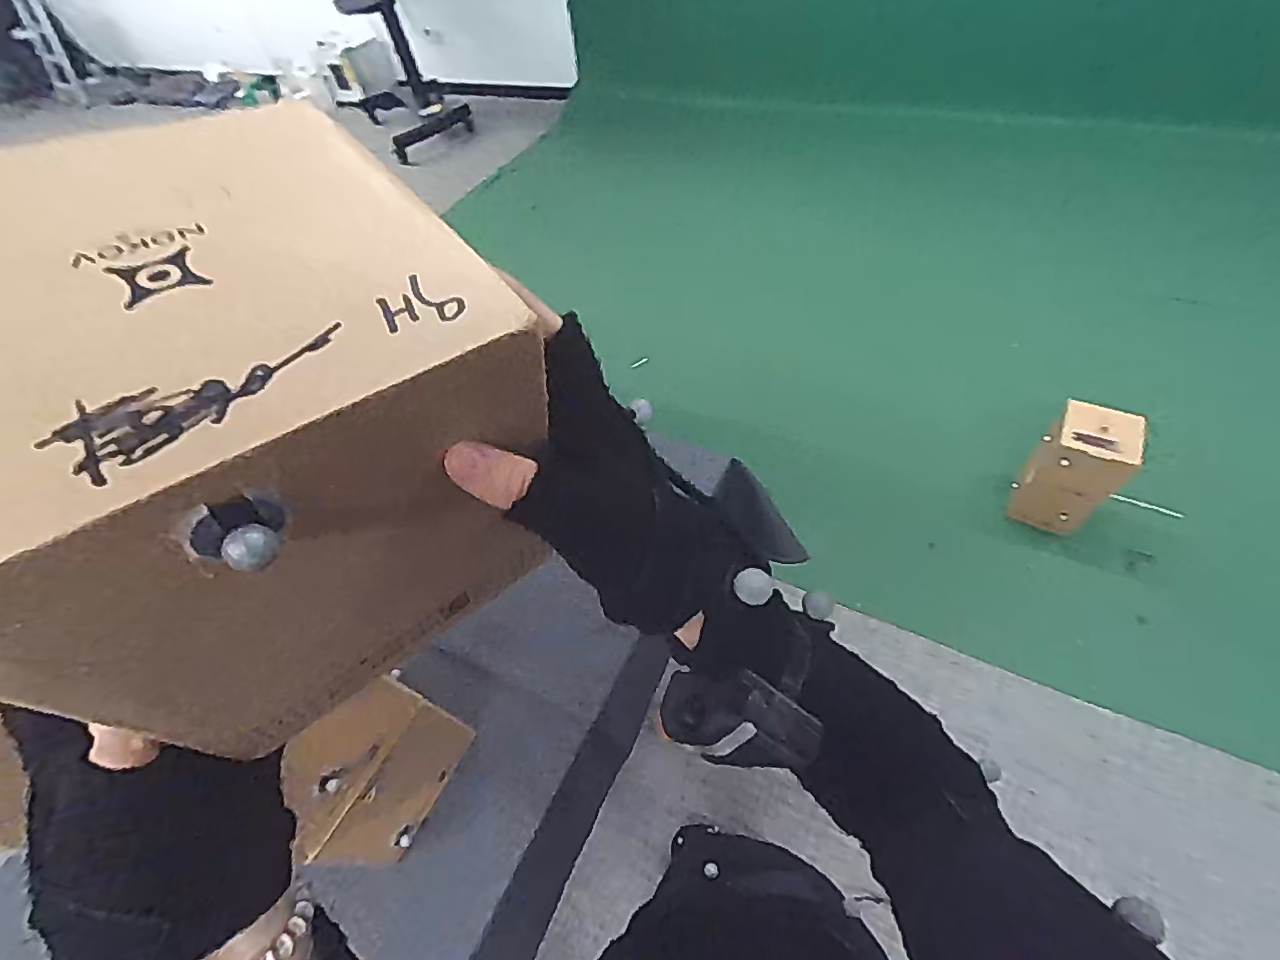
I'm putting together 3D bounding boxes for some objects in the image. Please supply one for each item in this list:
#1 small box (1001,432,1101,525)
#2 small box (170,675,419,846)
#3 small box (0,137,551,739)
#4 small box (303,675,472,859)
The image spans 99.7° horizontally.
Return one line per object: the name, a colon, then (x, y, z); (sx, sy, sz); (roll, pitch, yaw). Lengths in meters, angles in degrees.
small box: (1.165, -0.001, 1.546); (0.168, 0.176, 0.179); (24, 61, 24)
small box: (-0.358, 0.226, 0.522); (0.179, 0.176, 0.168); (19, 59, 21)
small box: (-0.157, -0.016, 0.246); (0.168, 0.176, 0.179); (-34, 65, -25)
small box: (-0.338, 0.322, 0.651); (0.179, 0.176, 0.168); (18, 59, 22)
